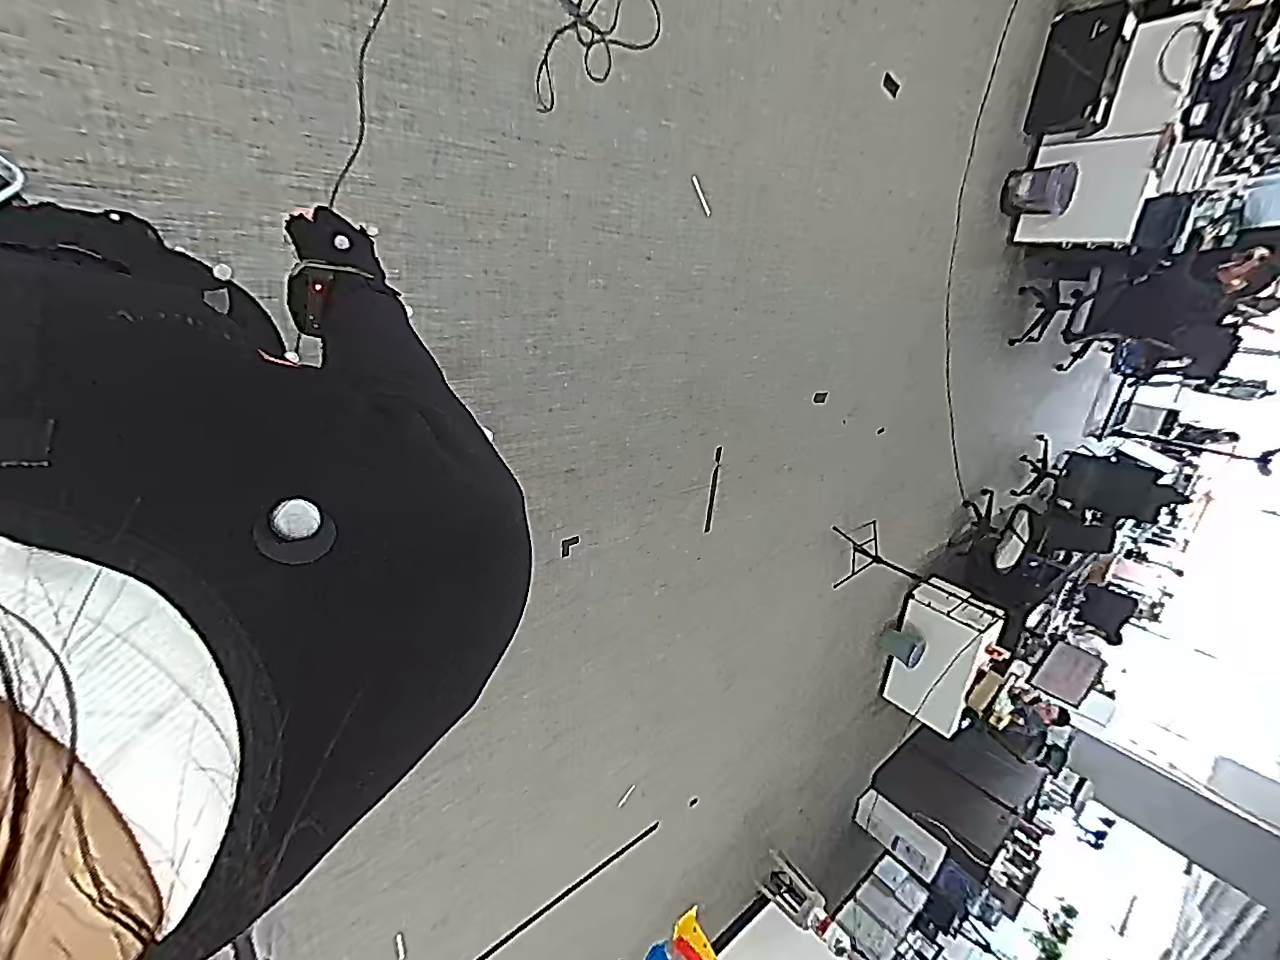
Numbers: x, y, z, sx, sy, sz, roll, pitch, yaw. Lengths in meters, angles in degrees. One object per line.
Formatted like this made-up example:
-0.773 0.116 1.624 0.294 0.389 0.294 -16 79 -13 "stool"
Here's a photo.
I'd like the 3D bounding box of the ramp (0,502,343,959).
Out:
-1.039 0.575 1.249 0.509 0.206 0.991 -13 115 -35 "ramp"
